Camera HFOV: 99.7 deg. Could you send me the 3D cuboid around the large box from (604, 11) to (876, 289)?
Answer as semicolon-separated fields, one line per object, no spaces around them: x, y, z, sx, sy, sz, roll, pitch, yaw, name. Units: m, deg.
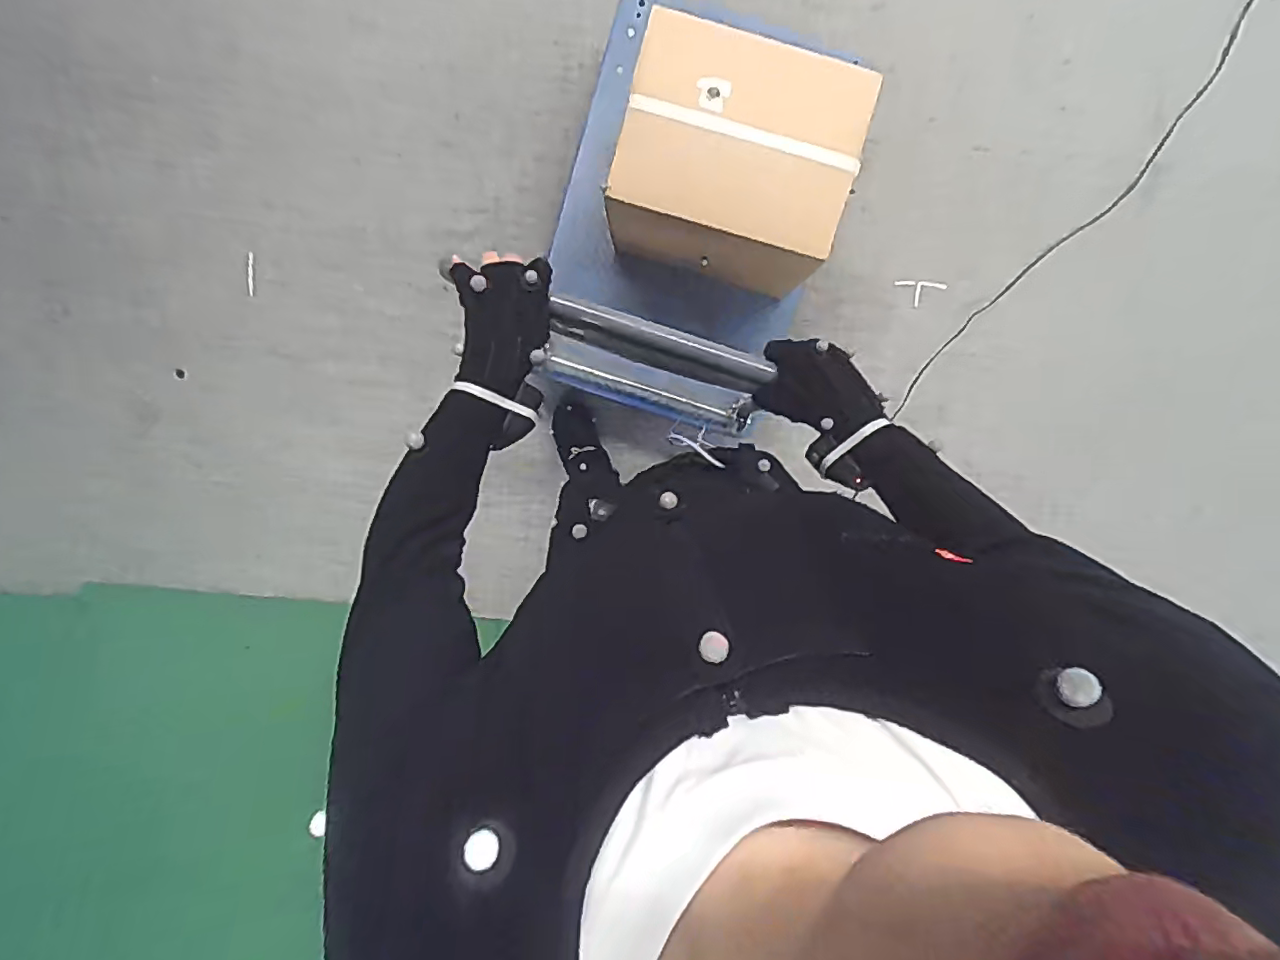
0.174;-0.608;1.069;0.408;0.320;0.320;16;96;0;large box
